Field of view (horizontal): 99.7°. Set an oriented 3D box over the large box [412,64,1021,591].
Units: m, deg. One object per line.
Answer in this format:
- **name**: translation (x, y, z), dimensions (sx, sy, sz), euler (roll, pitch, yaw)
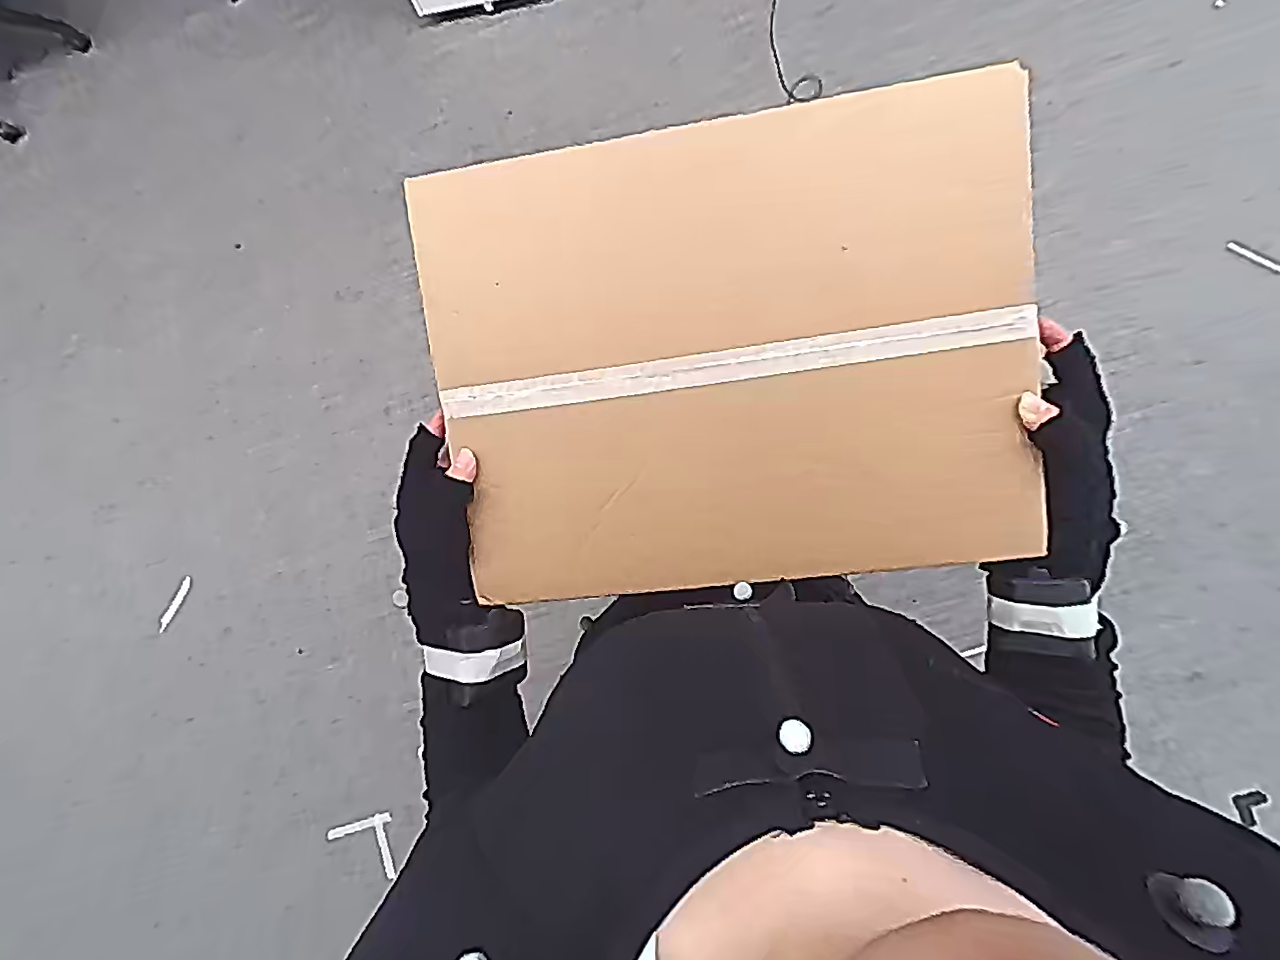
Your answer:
- **large box**: translation (0.068, -0.110, 0.527), dimensions (0.408, 0.320, 0.320), euler (-7, 97, 7)
